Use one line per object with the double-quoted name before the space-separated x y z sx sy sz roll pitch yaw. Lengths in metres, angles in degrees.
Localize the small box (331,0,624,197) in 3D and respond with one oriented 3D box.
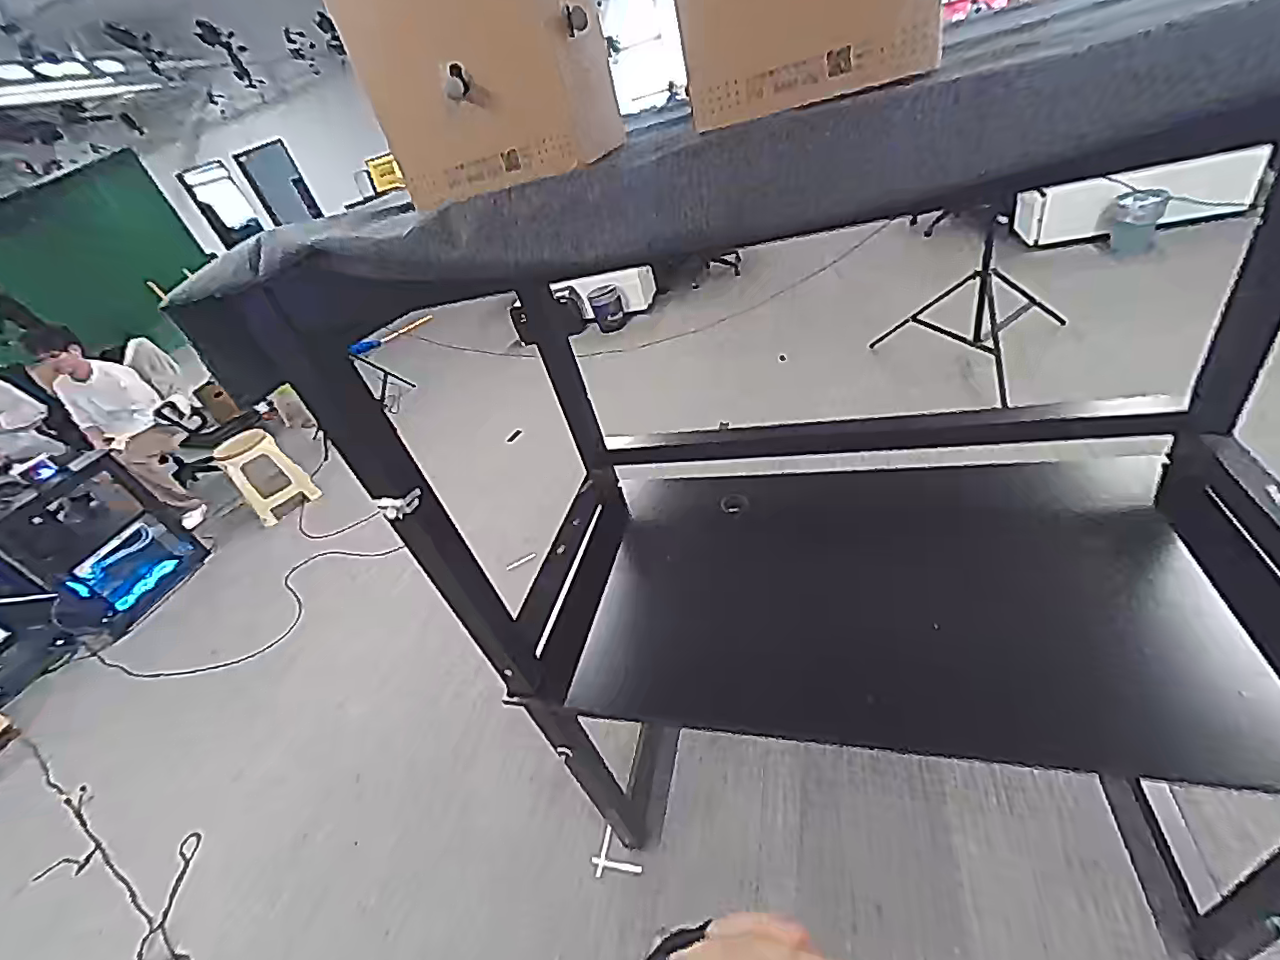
"small box" -0.122 -0.367 0.479 0.168 0.176 0.179 -5 37 16
